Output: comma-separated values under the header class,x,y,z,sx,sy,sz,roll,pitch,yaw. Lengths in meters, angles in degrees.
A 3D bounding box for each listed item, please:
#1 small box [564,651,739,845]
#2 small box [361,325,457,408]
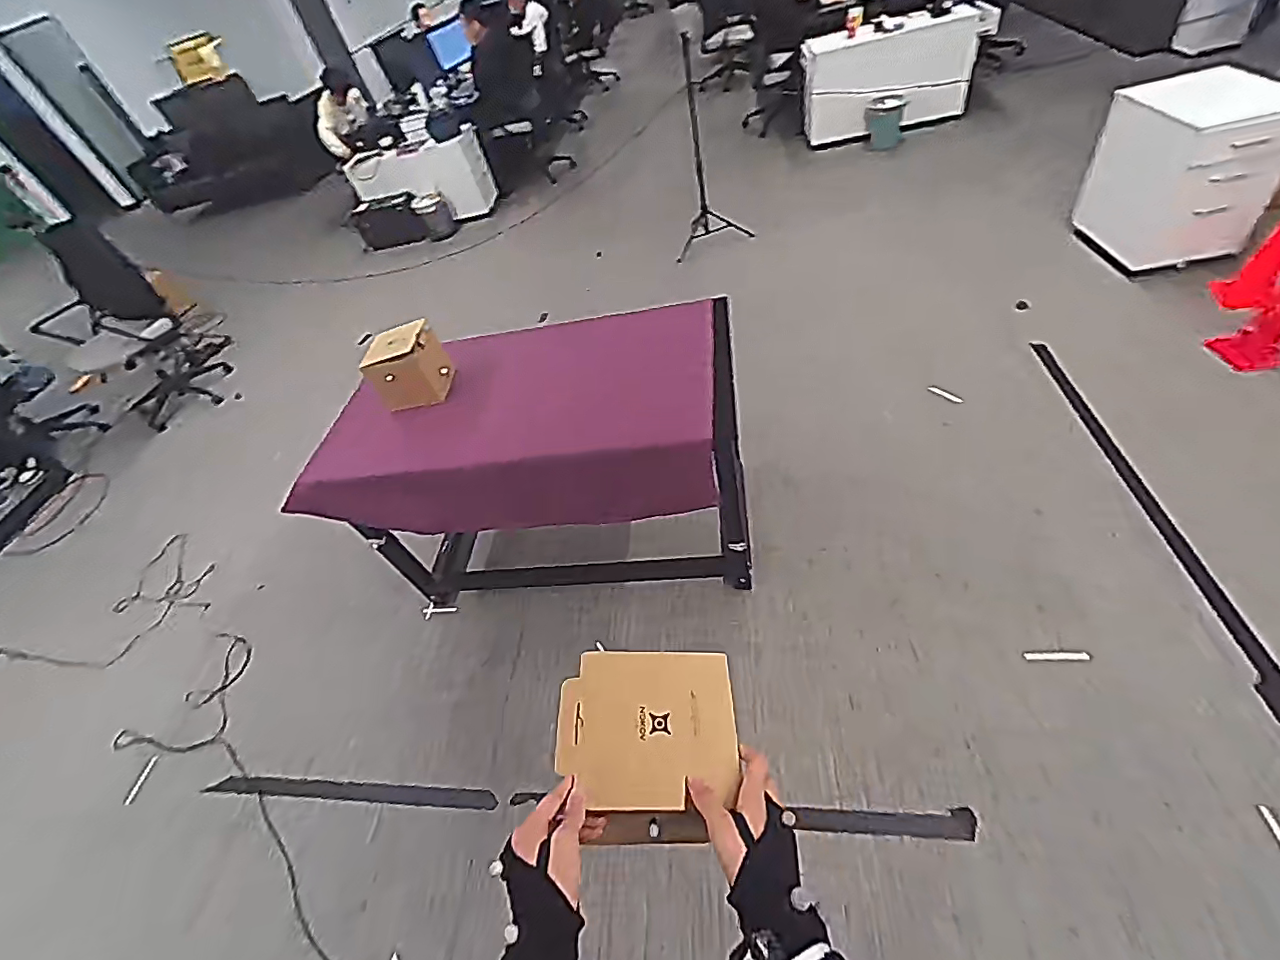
class,x,y,z,sx,sy,sz,roll,pitch,yaw
small box,0.010,0.319,0.641,0.179,0.176,0.168,1,46,-2
small box,-0.674,-0.331,1.595,0.179,0.176,0.168,-6,48,9
